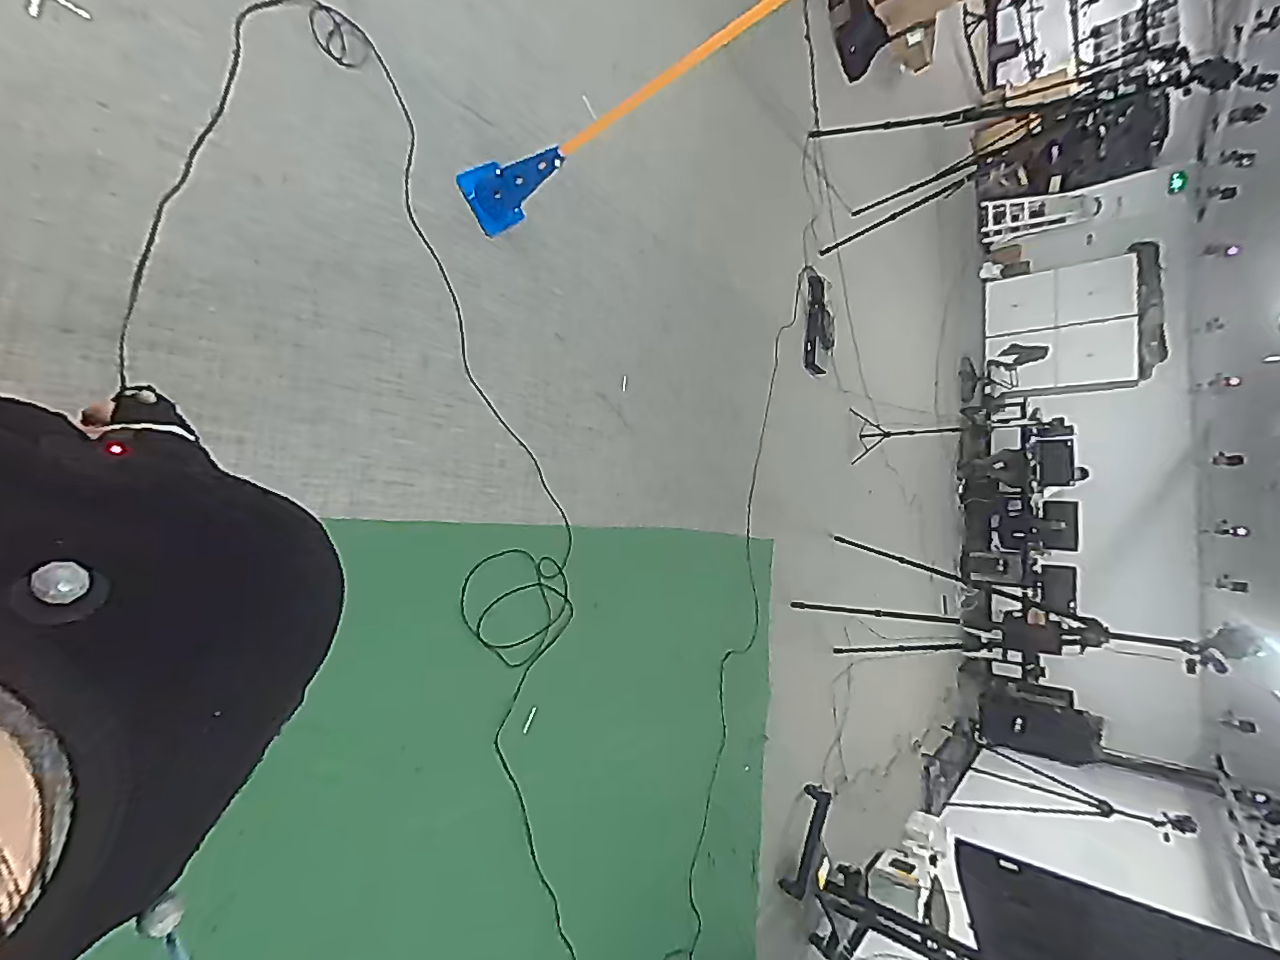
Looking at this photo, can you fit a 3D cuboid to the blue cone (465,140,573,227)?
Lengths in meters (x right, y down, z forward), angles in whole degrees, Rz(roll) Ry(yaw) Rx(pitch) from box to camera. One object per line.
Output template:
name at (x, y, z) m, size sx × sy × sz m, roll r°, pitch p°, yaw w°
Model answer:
blue cone at (-0.354, -0.966, 1.683) m, size 0.193 × 0.380 × 0.192 m, roll -55°, pitch 127°, yaw -37°
